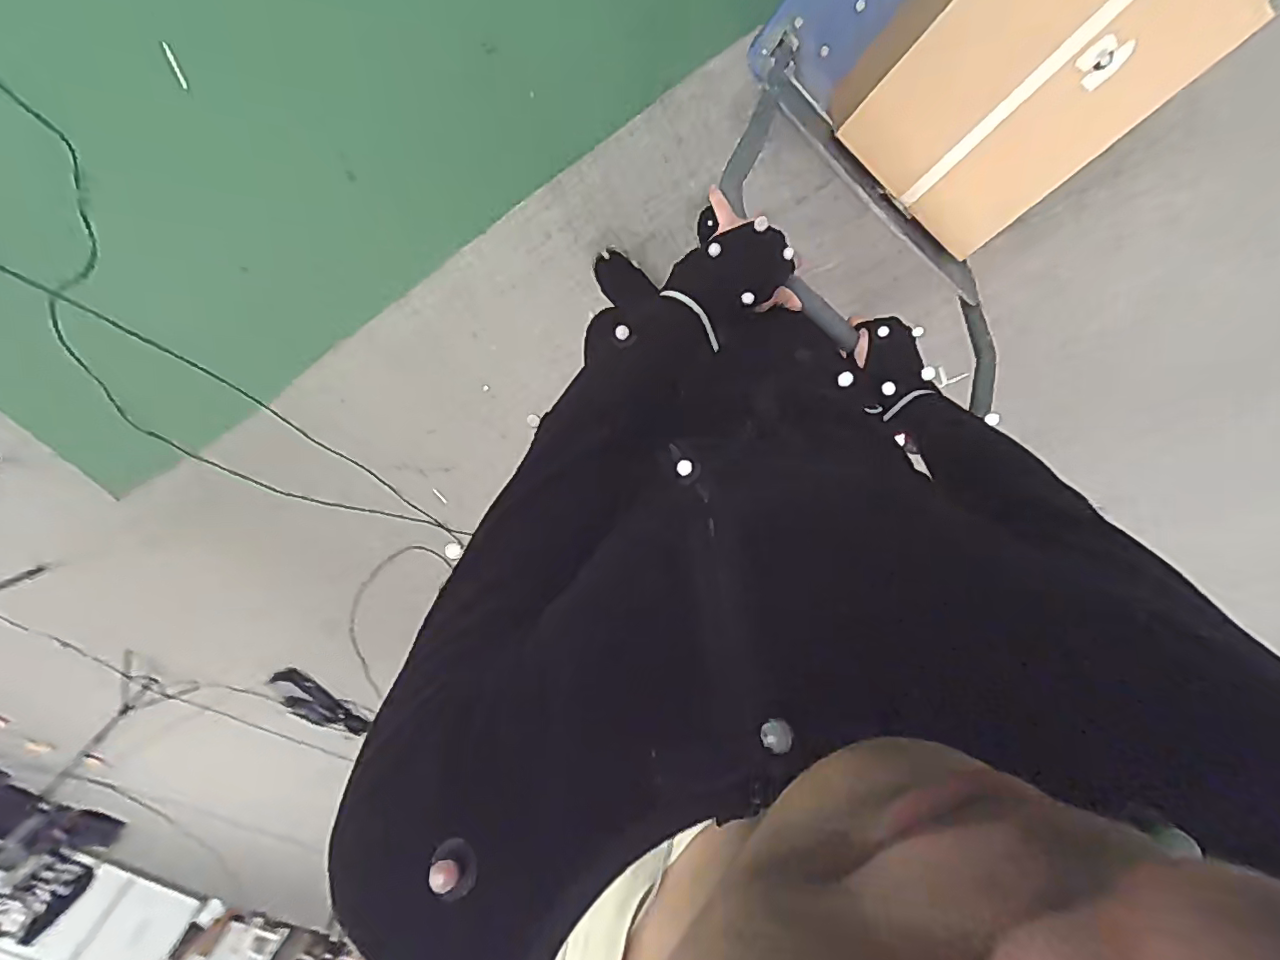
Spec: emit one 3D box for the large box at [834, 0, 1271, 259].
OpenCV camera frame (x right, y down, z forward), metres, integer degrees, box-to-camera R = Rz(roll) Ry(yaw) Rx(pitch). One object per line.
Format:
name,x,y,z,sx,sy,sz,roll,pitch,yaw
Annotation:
large box,0.569,-0.650,0.848,0.320,0.320,0.408,34,133,-17
